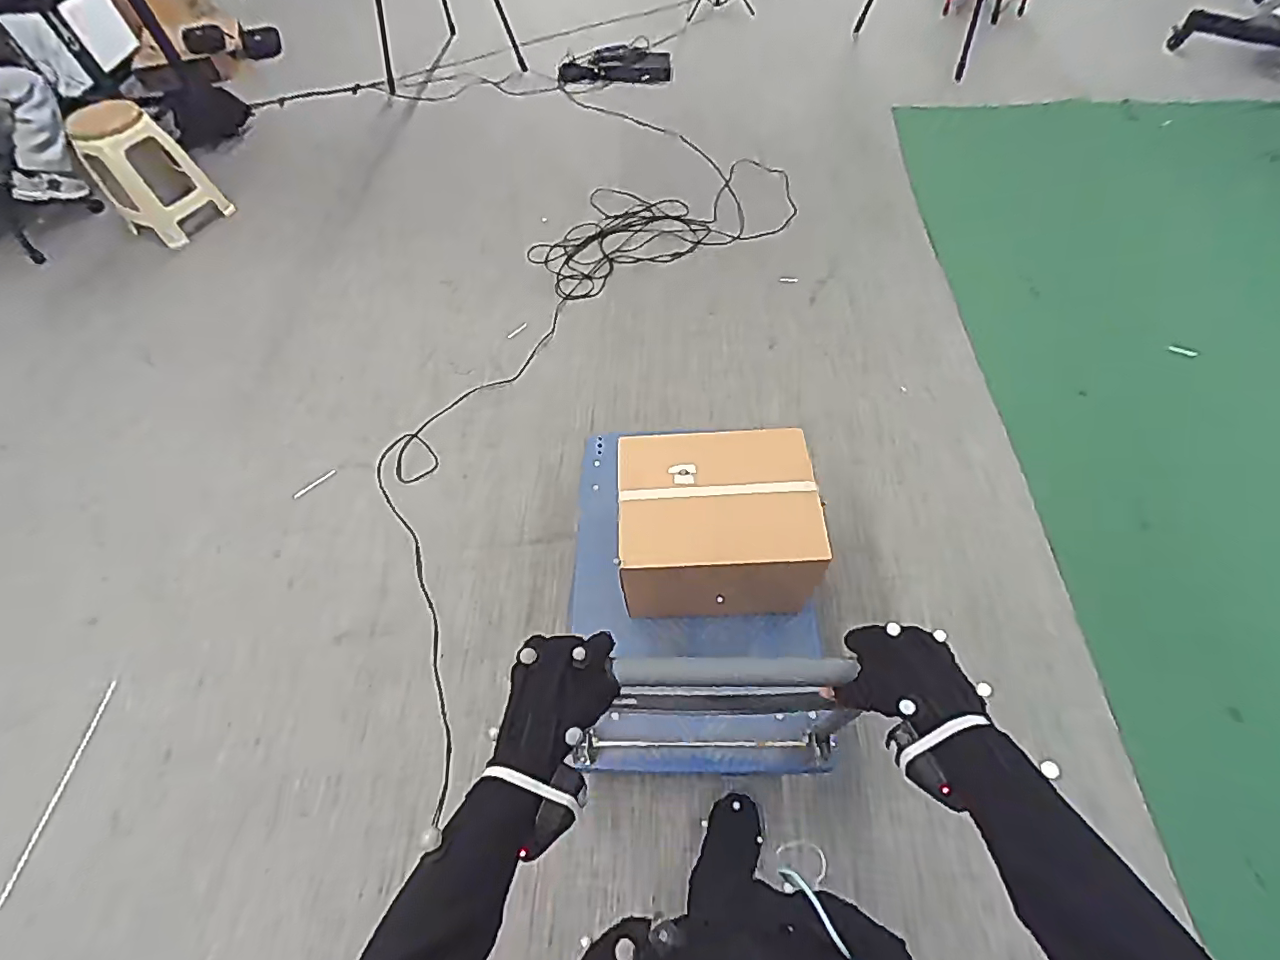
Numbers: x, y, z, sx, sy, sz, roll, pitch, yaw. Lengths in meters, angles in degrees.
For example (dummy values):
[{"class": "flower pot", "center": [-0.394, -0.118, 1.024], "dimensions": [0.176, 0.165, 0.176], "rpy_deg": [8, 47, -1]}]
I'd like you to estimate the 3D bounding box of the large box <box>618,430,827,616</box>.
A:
[{"class": "large box", "center": [0.168, 0.111, 1.242], "dimensions": [0.408, 0.320, 0.320], "rpy_deg": [-4, 57, 3]}]
